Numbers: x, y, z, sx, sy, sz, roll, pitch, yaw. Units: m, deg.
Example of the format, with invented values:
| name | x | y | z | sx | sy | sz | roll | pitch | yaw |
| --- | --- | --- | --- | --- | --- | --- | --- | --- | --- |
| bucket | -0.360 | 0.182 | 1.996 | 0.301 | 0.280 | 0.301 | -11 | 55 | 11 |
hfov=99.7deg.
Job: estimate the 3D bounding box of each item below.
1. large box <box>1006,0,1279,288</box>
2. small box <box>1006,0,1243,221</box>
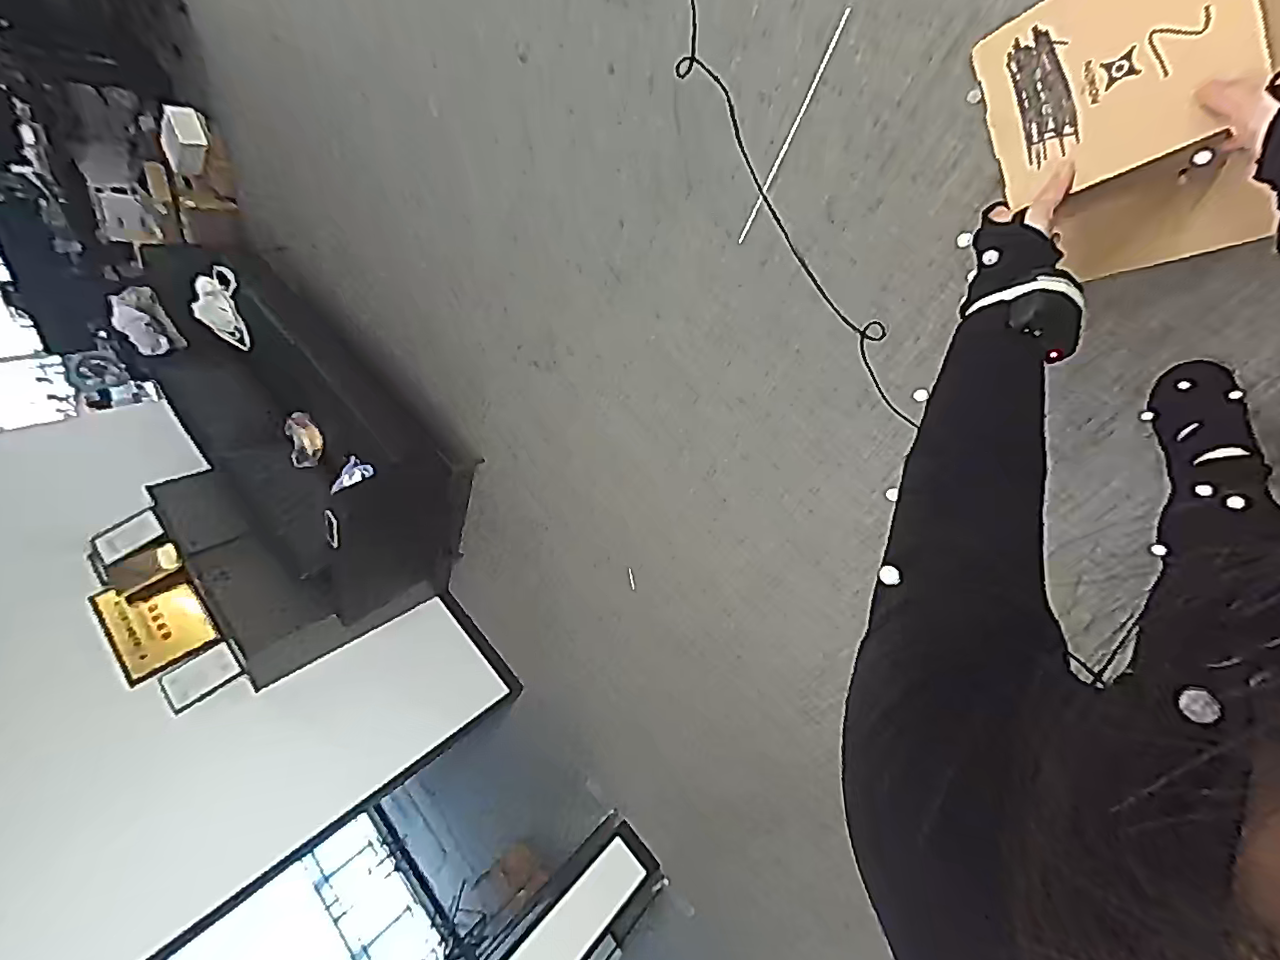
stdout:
| name | x | y | z | sx | sy | sz | roll | pitch | yaw |
| --- | --- | --- | --- | --- | --- | --- | --- | --- | --- |
| large box | 0.787 | -0.491 | 0.747 | 0.408 | 0.320 | 0.320 | -5 | 107 | 44 |
| small box | 0.561 | -0.425 | 0.635 | 0.179 | 0.176 | 0.168 | -9 | 101 | 46 |
